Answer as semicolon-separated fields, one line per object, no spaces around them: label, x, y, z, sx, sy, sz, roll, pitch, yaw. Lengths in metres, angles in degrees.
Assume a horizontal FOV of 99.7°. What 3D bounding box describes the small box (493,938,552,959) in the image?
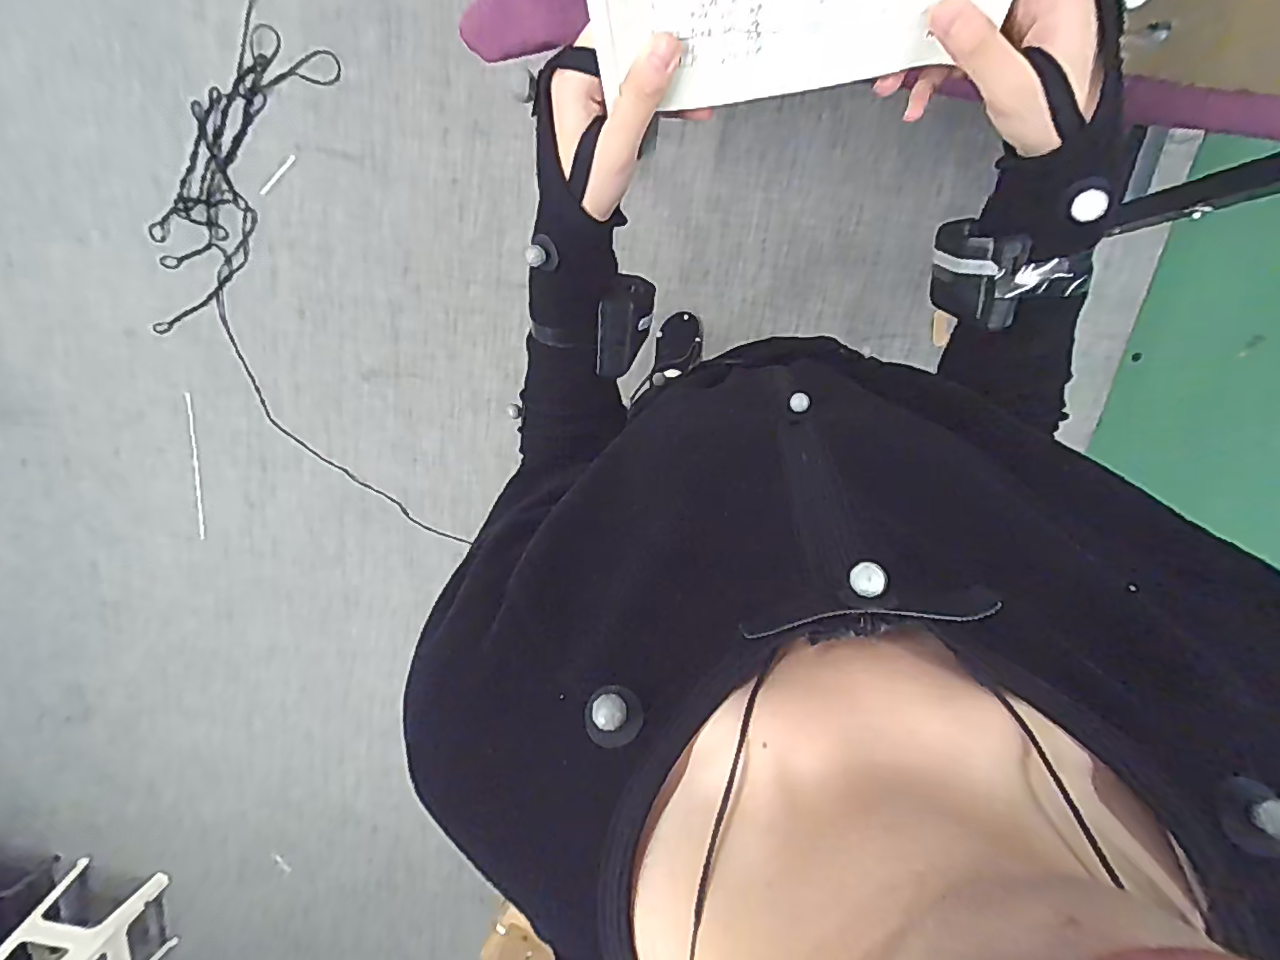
small box;-0.361;1.457;1.521;0.168;0.176;0.179;28;106;-1
